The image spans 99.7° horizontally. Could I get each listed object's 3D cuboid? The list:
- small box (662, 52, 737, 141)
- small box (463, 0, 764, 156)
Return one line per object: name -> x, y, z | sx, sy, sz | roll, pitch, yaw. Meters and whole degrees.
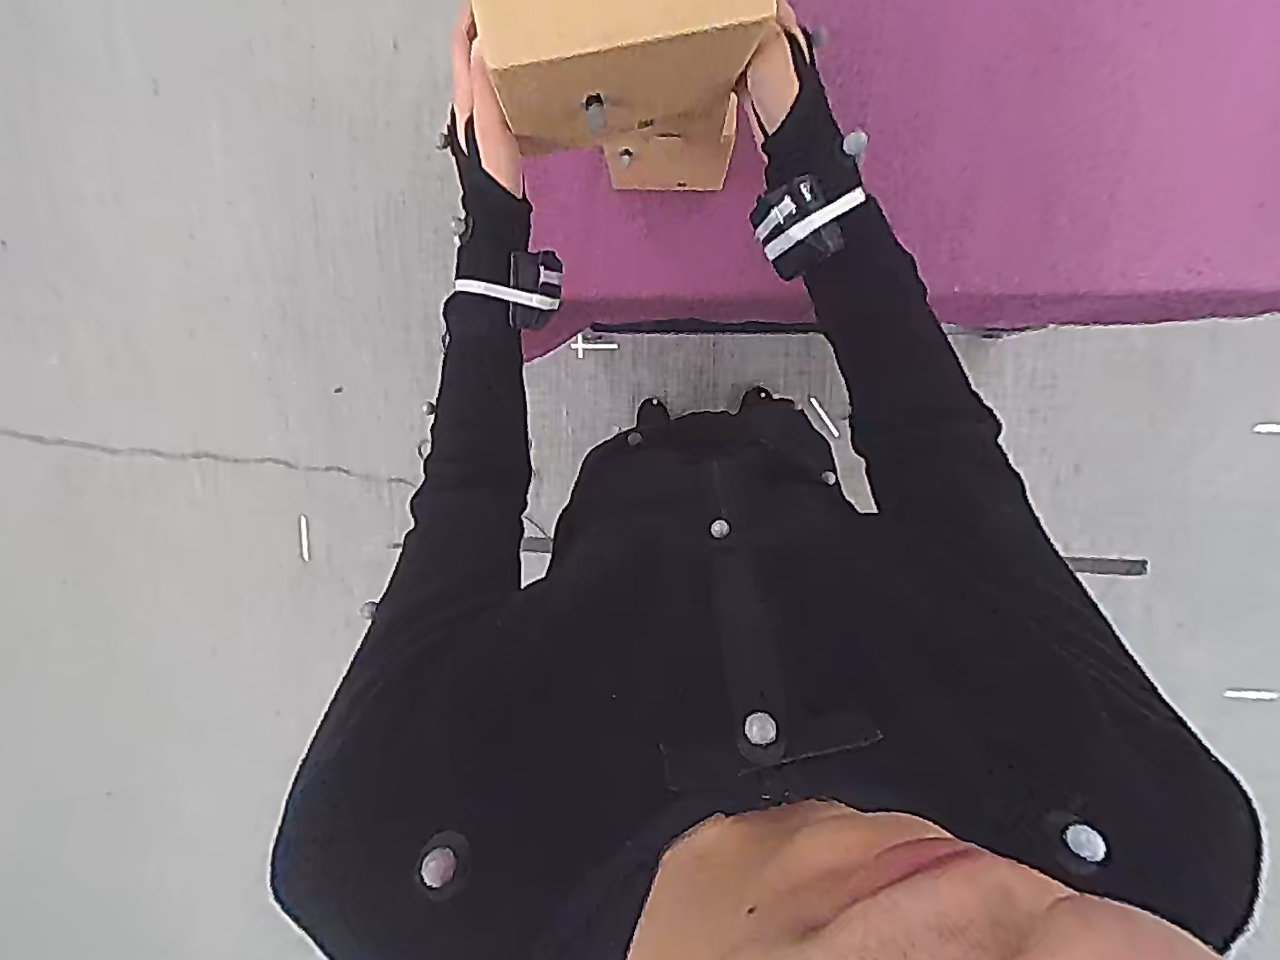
small box -> 0.019, -0.489, 0.569 | 0.179, 0.176, 0.168 | 8, 98, 1
small box -> -0.030, -0.339, 0.358 | 0.168, 0.176, 0.179 | -13, 105, -1
